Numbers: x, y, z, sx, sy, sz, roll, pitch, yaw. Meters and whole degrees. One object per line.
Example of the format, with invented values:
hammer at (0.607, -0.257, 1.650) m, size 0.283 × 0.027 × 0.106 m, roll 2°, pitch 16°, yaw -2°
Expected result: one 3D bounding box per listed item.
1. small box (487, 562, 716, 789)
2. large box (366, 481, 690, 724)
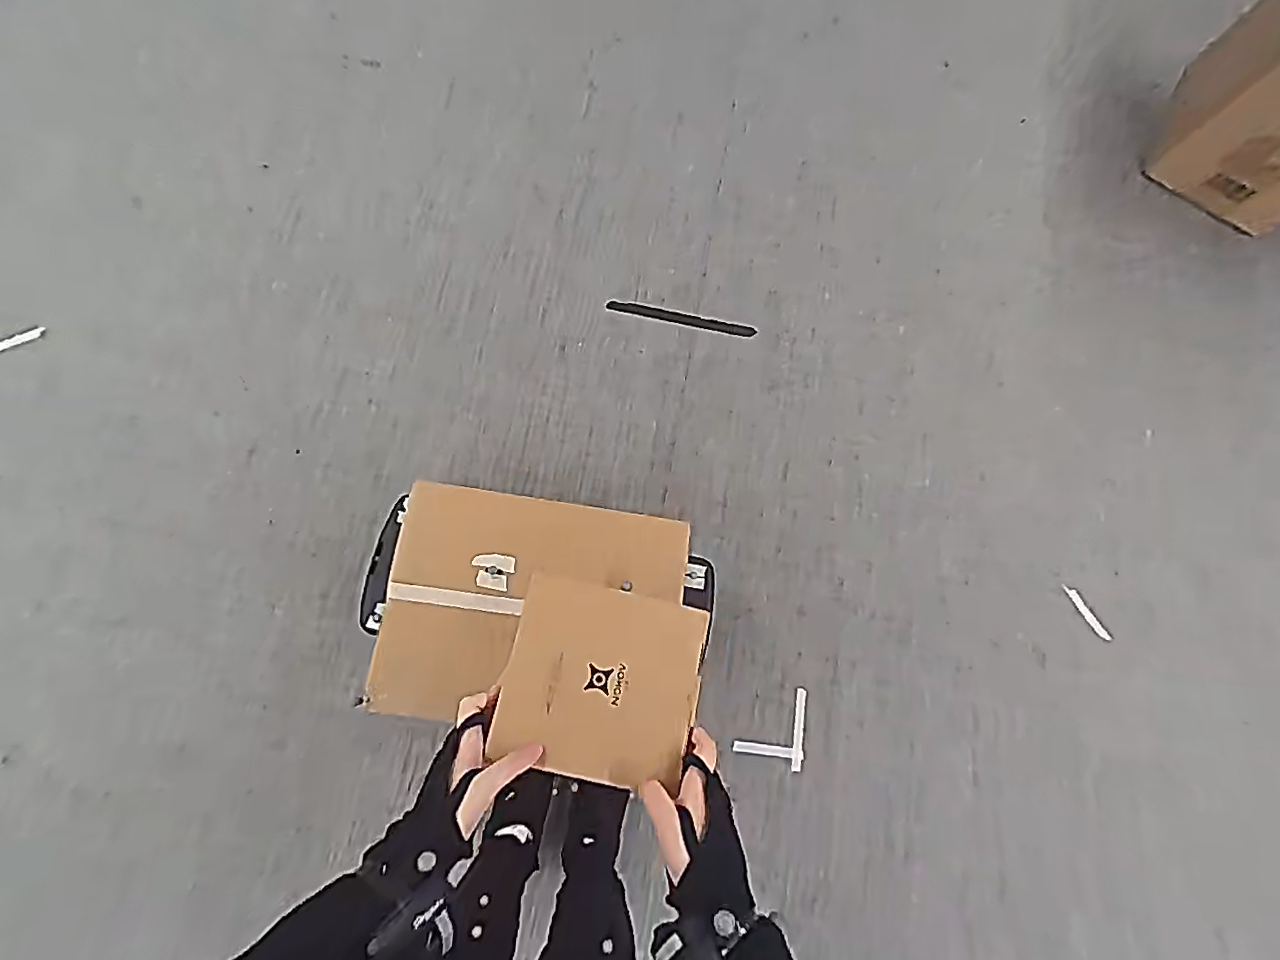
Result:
small box at (-0.038, 0.195, 0.565) m, size 0.179 × 0.176 × 0.168 m, roll 15°, pitch 72°, yaw -2°
large box at (-0.150, 0.207, 0.885) m, size 0.408 × 0.320 × 0.320 m, roll 9°, pitch 77°, yaw -2°
